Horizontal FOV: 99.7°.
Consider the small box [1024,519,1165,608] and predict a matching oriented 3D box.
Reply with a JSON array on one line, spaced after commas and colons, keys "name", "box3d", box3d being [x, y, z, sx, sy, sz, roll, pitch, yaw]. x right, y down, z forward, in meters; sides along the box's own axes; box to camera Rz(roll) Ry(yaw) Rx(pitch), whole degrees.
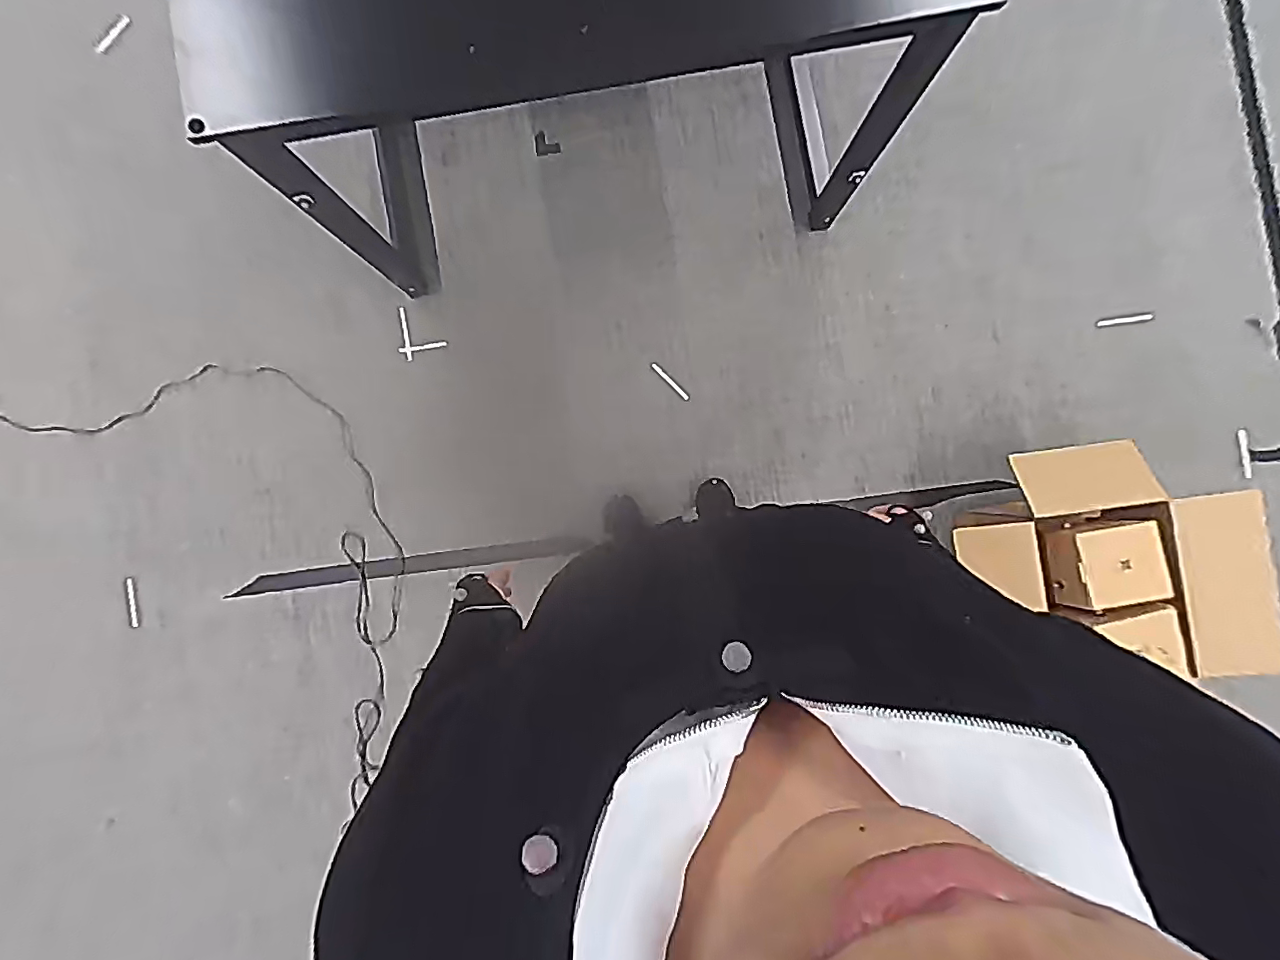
[{"name": "small box", "box3d": [1.019, 0.184, 1.233, 0.179, 0.176, 0.168, -11, 87, -1]}]

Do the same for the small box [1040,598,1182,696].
[{"name": "small box", "box3d": [1.055, 0.360, 1.230, 0.179, 0.176, 0.168, -15, 93, 1]}]
